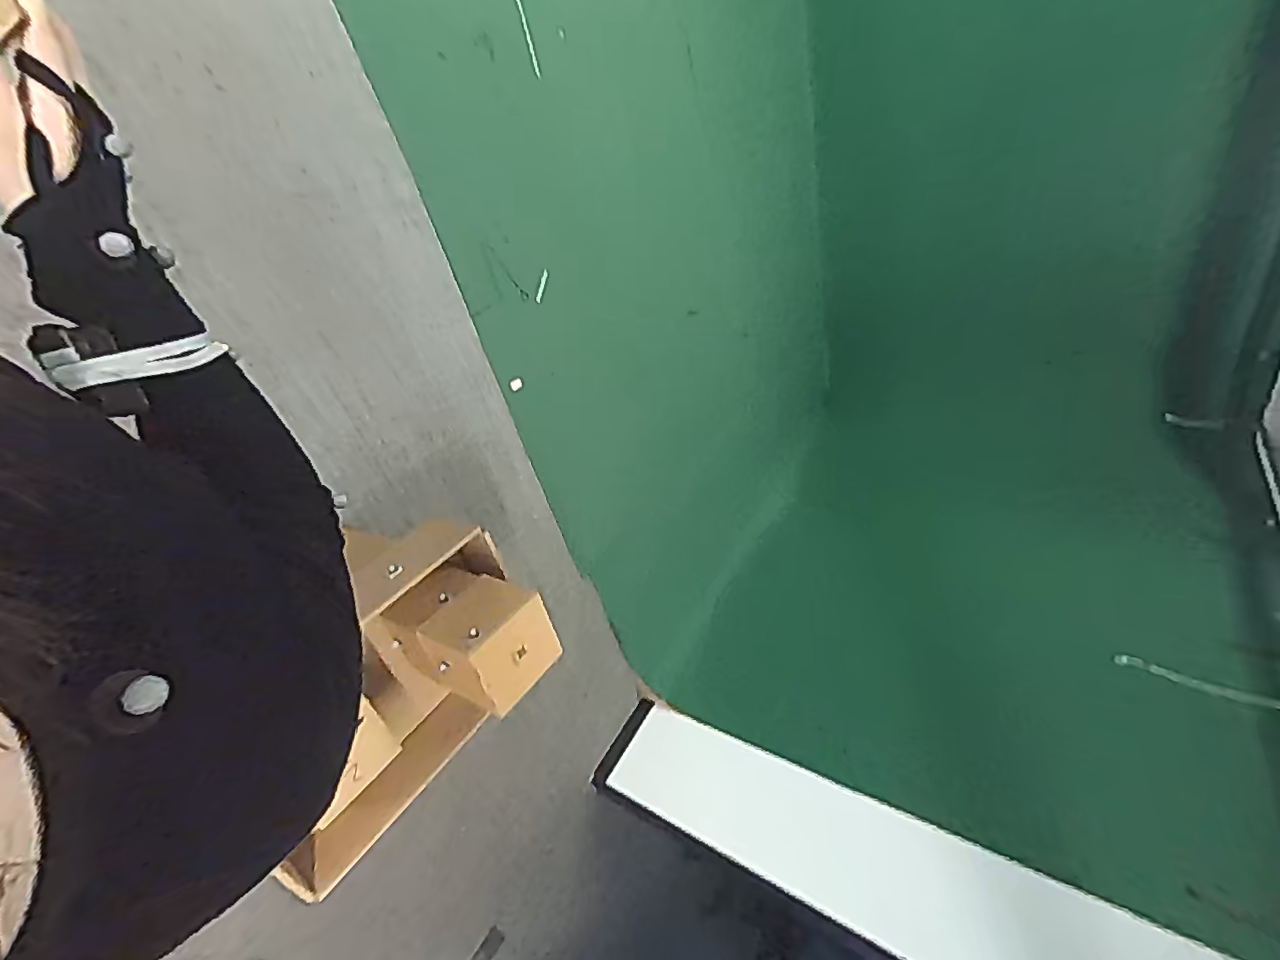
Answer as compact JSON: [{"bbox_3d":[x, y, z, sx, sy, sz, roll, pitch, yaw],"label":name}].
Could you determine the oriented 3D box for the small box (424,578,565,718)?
[{"bbox_3d":[-0.283,0.316,1.059,0.179,0.176,0.168,-41,128,-40],"label":"small box"}]

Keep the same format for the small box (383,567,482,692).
[{"bbox_3d":[-0.409,0.311,1.162,0.179,0.176,0.168,-42,128,-40],"label":"small box"}]
